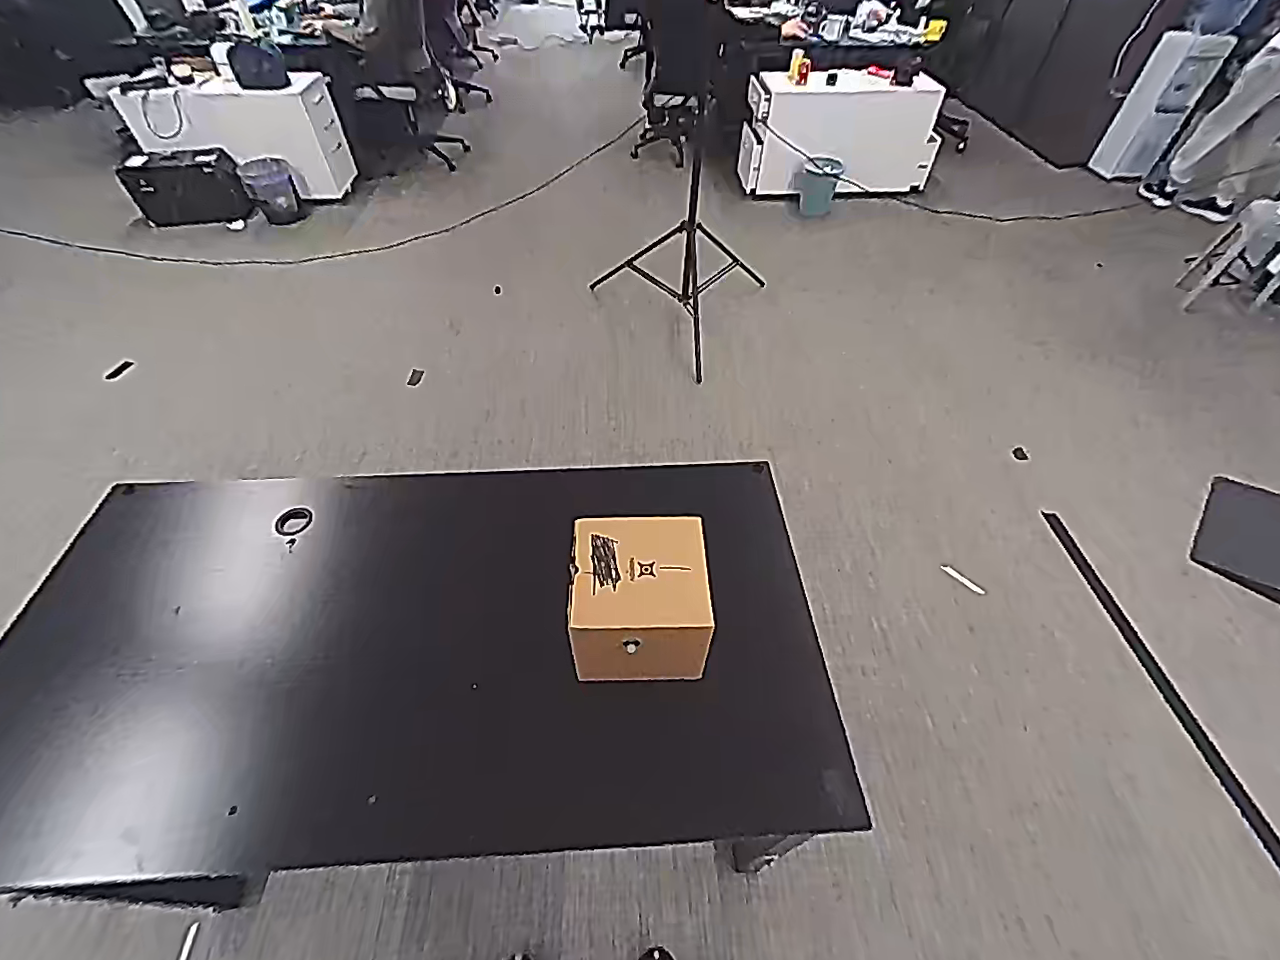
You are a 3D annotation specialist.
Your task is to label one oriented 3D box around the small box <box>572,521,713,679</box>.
[{"bbox_3d":[0.003,0.173,0.768,0.179,0.176,0.168,0,49,-1],"label":"small box"}]
